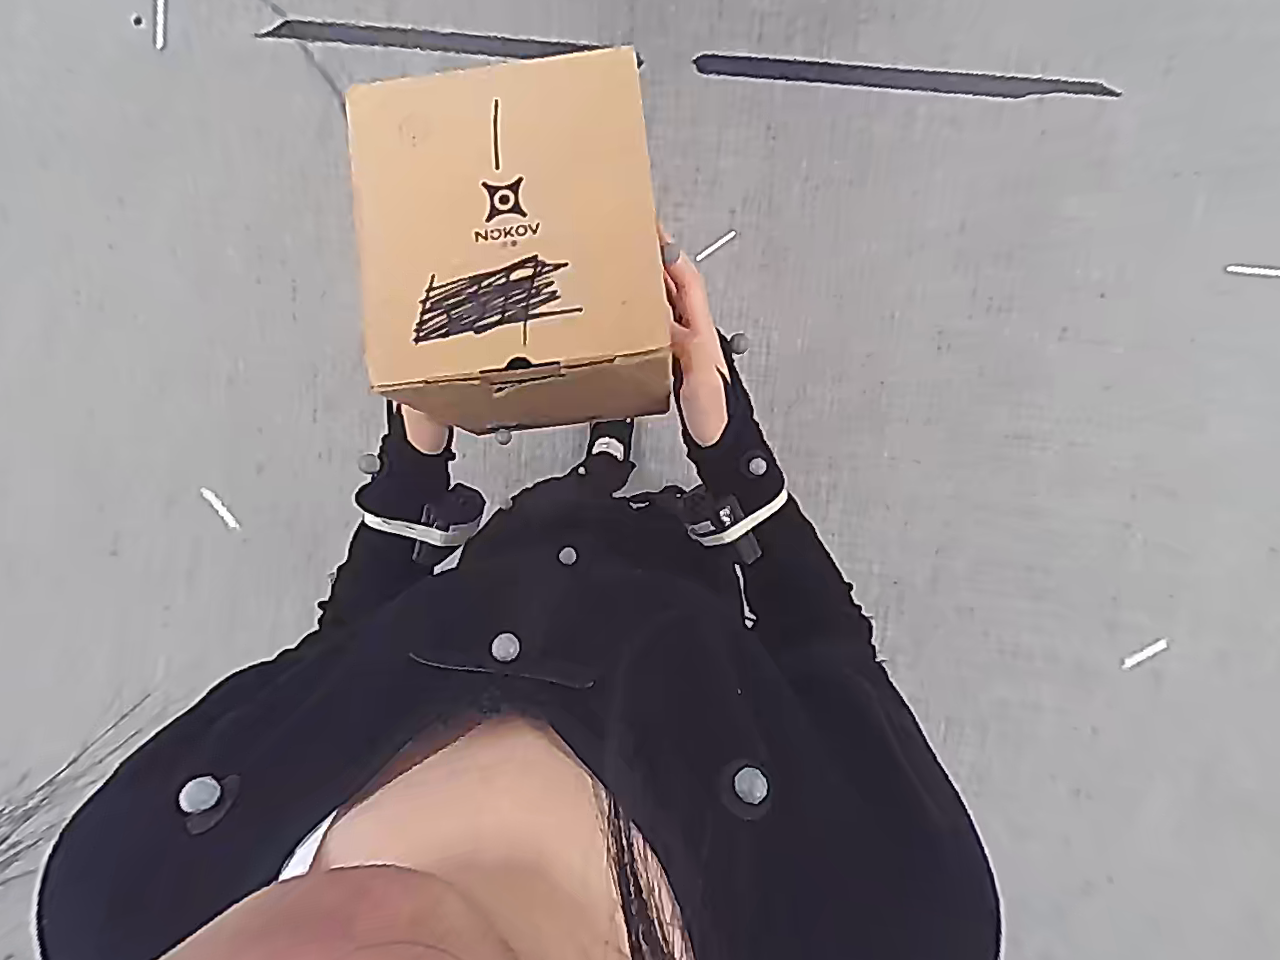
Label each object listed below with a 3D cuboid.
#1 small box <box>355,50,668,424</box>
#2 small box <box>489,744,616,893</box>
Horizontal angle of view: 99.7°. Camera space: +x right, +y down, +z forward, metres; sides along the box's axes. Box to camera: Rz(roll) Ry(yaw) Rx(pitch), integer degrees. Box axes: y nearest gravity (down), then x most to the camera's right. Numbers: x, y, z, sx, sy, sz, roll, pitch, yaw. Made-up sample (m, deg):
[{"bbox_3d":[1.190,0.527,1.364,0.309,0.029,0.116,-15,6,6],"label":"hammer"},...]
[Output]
[{"bbox_3d":[-0.069,-0.138,0.375,0.168,0.176,0.179,-6,85,2],"label":"small box"},{"bbox_3d":[-0.131,0.543,0.833,0.168,0.176,0.179,6,94,3],"label":"small box"}]
